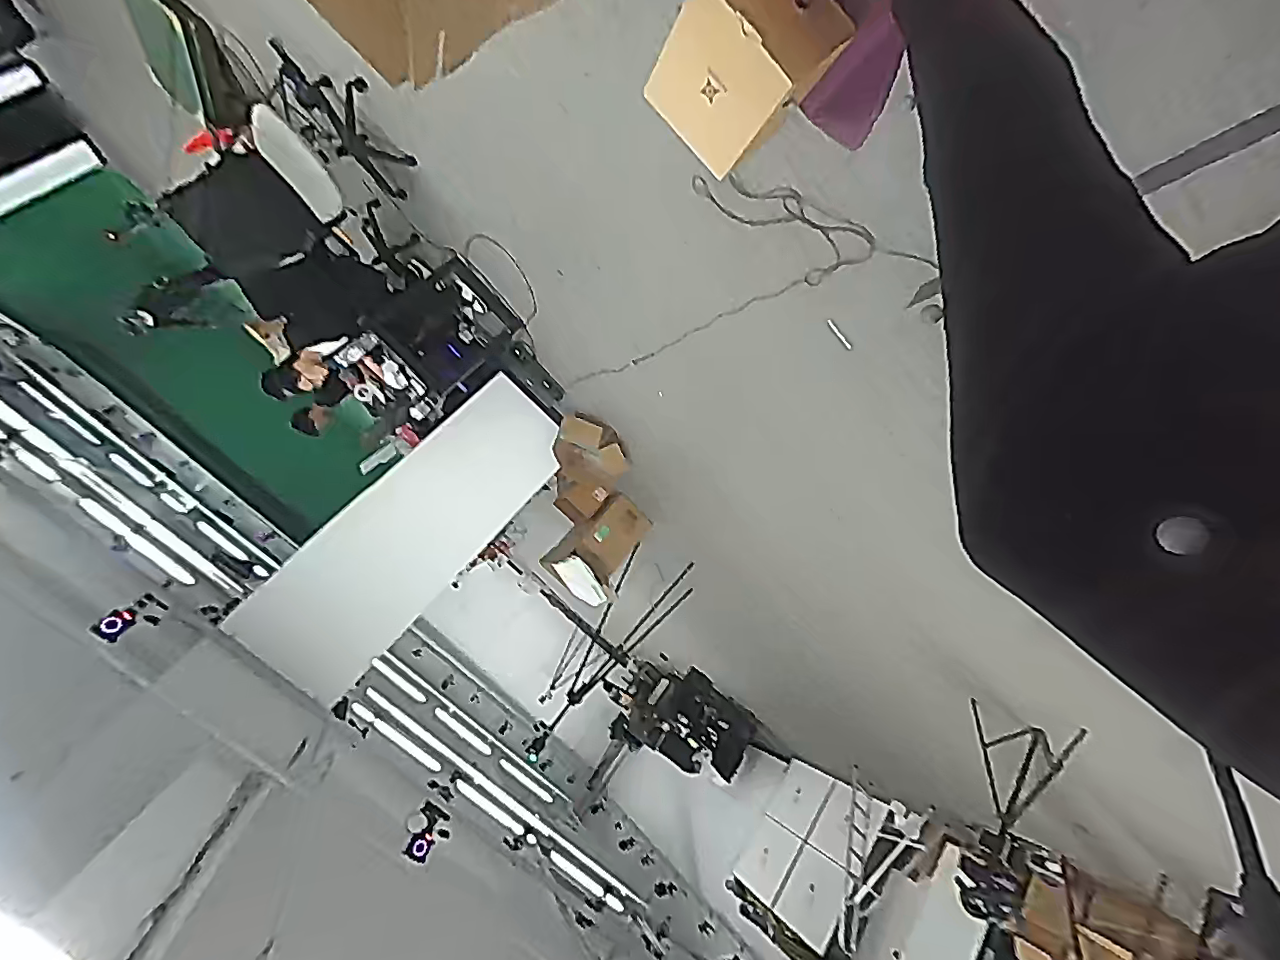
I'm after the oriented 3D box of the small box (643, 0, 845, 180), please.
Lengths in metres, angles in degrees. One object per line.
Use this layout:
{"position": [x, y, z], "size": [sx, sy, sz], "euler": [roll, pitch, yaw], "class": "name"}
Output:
{"position": [0.140, -0.566, 0.736], "size": [0.168, 0.176, 0.179], "euler": [44, 157, -9], "class": "small box"}
